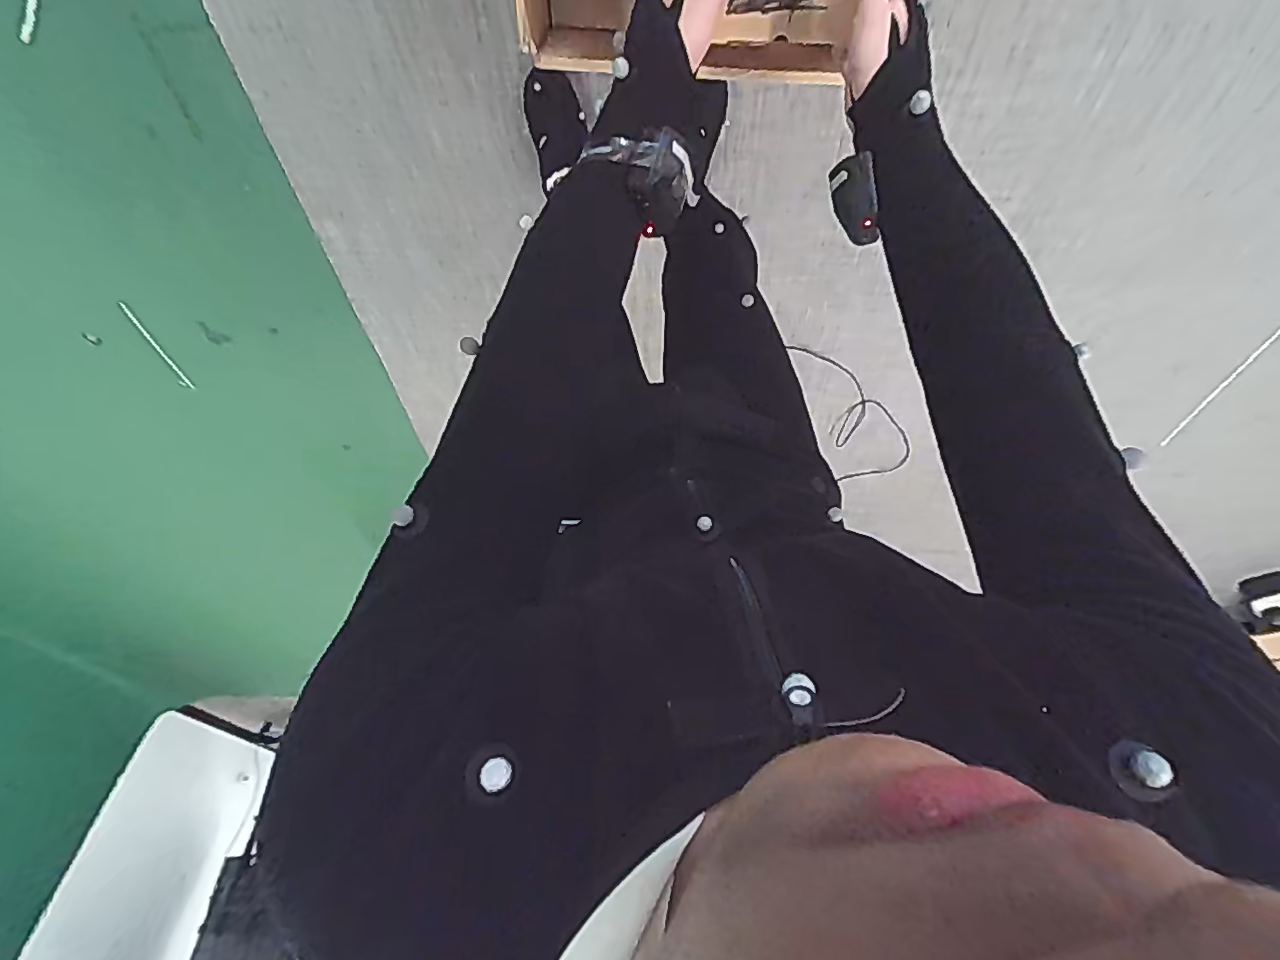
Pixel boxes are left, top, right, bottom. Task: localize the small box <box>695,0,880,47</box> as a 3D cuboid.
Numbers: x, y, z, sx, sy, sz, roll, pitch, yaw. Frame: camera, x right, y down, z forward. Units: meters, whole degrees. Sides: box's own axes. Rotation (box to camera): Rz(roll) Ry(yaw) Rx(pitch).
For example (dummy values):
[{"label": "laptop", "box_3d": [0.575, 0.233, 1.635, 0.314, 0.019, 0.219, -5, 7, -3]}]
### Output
[{"label": "small box", "box_3d": [0.142, -0.528, 0.487, 0.168, 0.176, 0.179, 5, 144, 4]}]
